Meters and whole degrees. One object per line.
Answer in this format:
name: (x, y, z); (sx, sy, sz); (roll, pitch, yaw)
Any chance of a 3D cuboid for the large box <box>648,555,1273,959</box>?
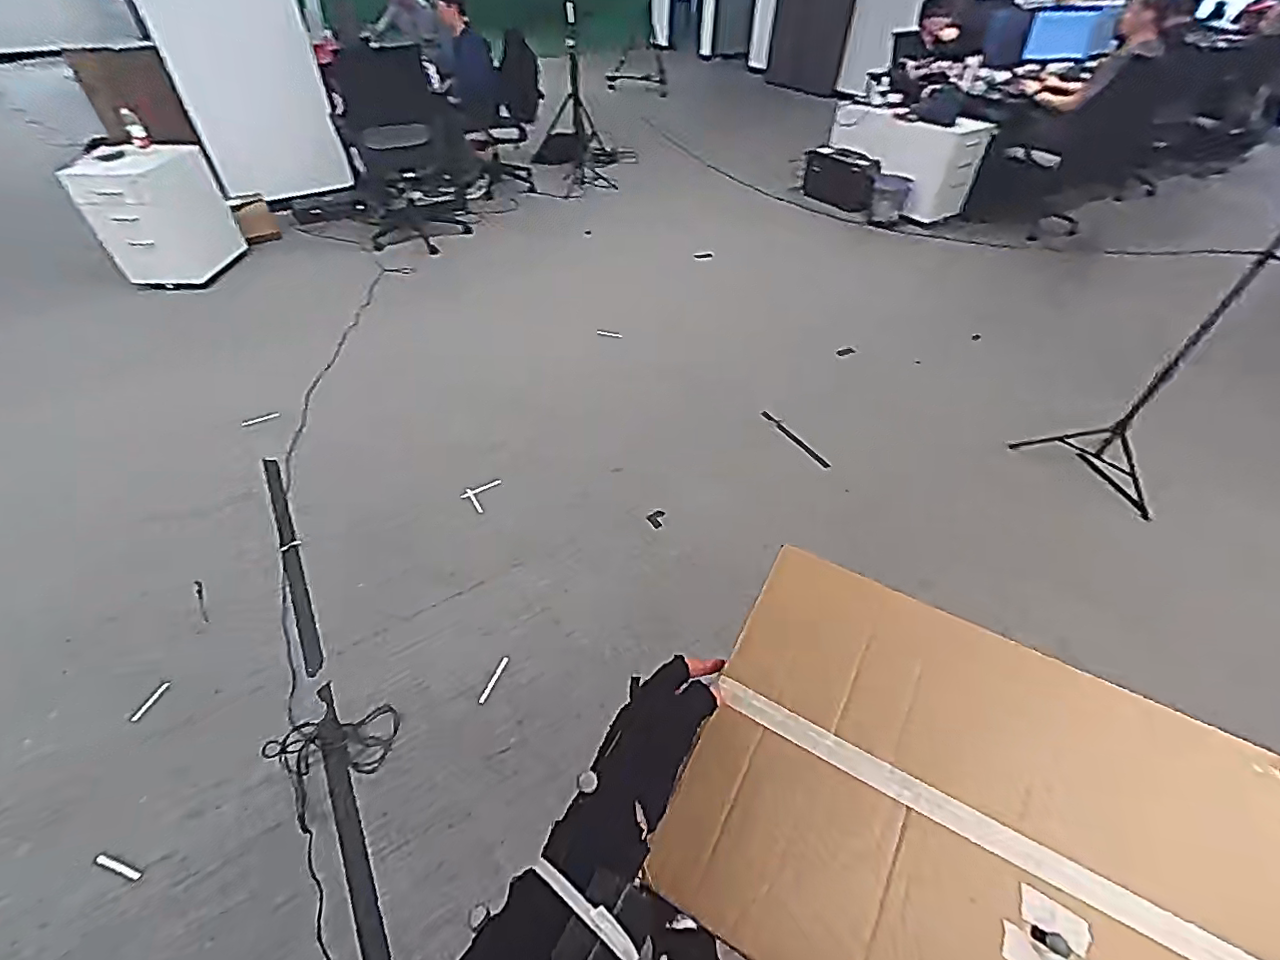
large box: (0.261, 0.341, 0.553); (0.408, 0.320, 0.320); (24, 64, 20)
